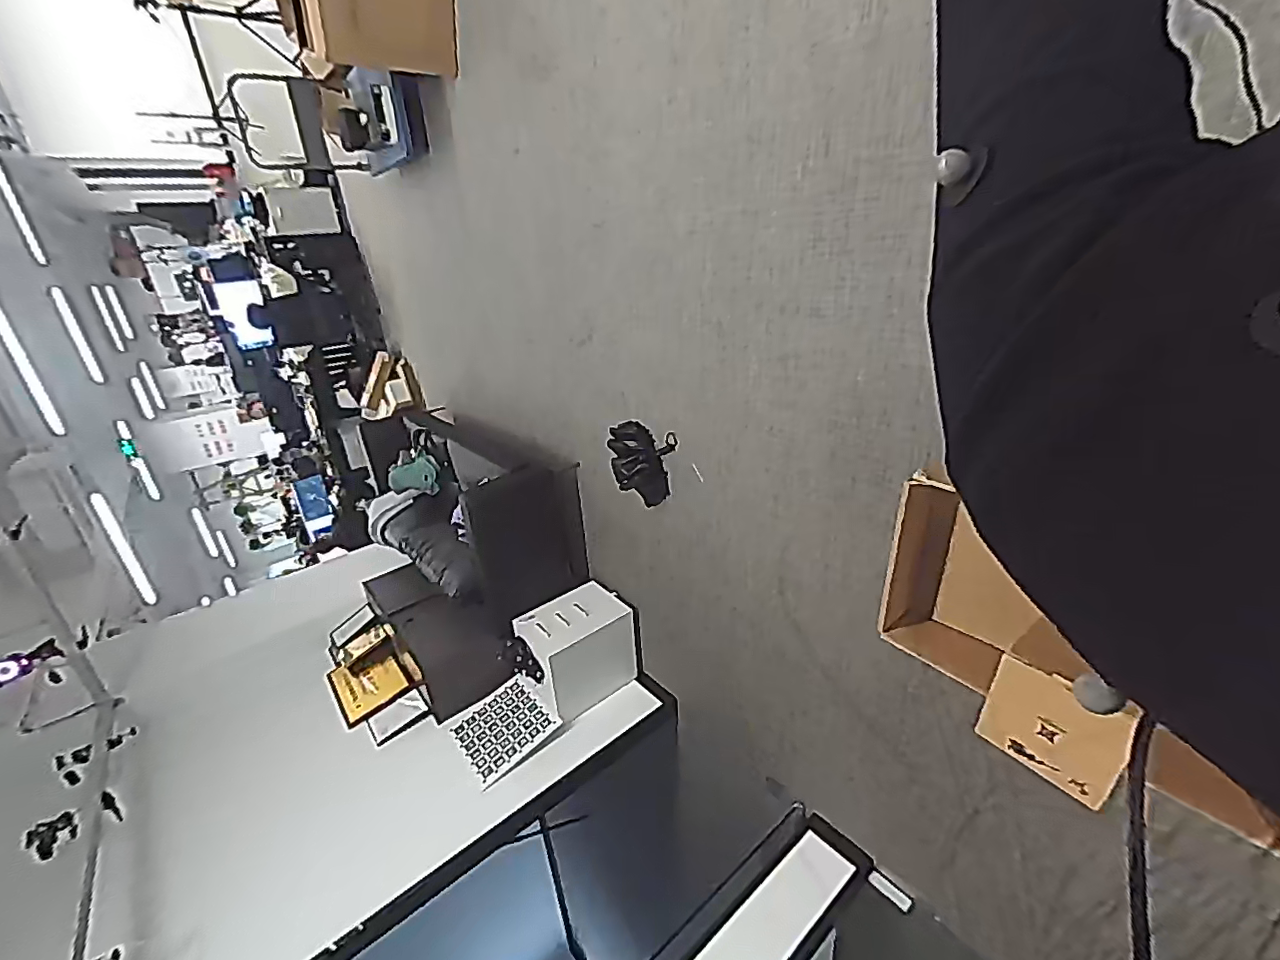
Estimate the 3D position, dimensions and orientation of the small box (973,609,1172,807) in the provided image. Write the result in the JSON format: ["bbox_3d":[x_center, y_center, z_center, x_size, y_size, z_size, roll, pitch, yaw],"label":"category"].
[{"bbox_3d":[0.639,0.324,0.803,0.168,0.176,0.179,31,131,46],"label":"small box"}]
